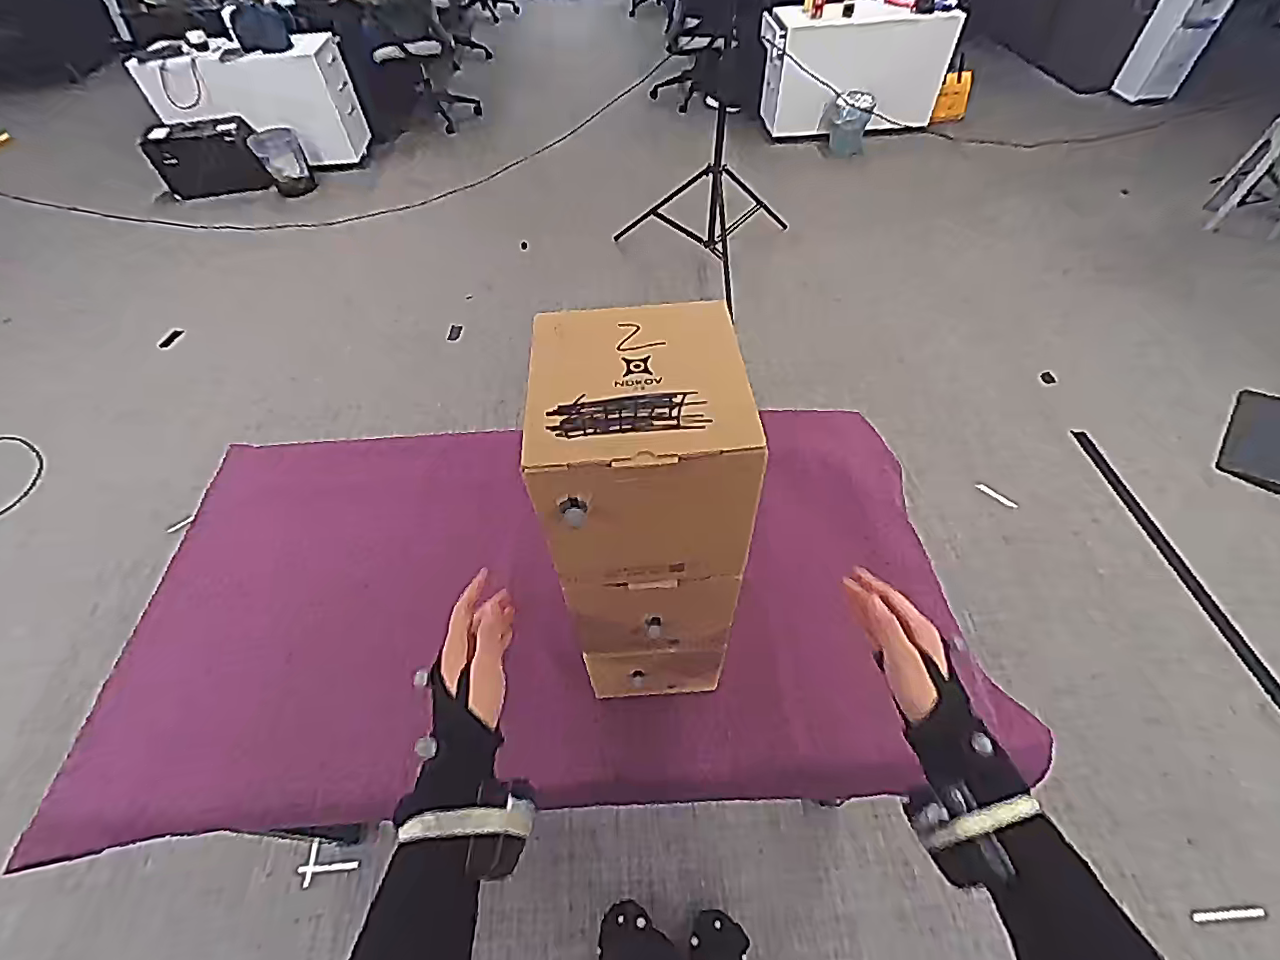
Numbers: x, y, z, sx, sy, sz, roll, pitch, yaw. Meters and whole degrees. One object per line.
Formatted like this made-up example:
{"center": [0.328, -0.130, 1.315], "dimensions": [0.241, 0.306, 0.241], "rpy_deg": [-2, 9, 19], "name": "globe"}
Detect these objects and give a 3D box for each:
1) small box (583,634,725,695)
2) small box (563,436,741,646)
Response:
{"center": [0.017, 0.179, 0.726], "dimensions": [0.168, 0.176, 0.179], "rpy_deg": [-4, 52, 0], "name": "small box"}
{"center": [0.012, 0.075, 0.599], "dimensions": [0.168, 0.176, 0.179], "rpy_deg": [-4, 53, 0], "name": "small box"}
